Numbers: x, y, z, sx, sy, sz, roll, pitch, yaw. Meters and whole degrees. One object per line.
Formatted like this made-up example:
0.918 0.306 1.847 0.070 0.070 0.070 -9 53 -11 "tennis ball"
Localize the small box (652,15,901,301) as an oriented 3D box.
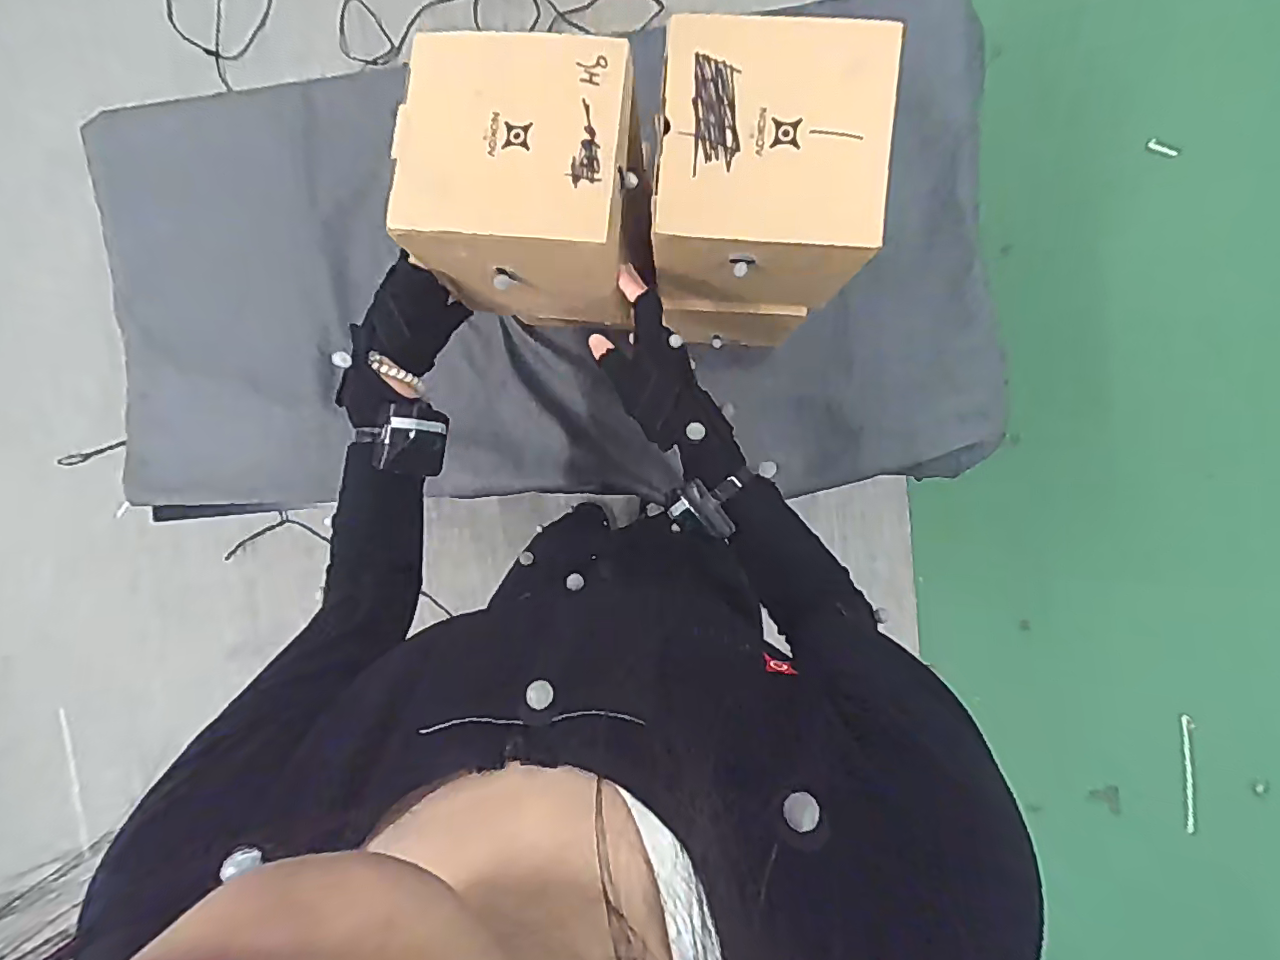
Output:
0.107 -0.270 0.492 0.179 0.176 0.168 5 94 3 "small box"
